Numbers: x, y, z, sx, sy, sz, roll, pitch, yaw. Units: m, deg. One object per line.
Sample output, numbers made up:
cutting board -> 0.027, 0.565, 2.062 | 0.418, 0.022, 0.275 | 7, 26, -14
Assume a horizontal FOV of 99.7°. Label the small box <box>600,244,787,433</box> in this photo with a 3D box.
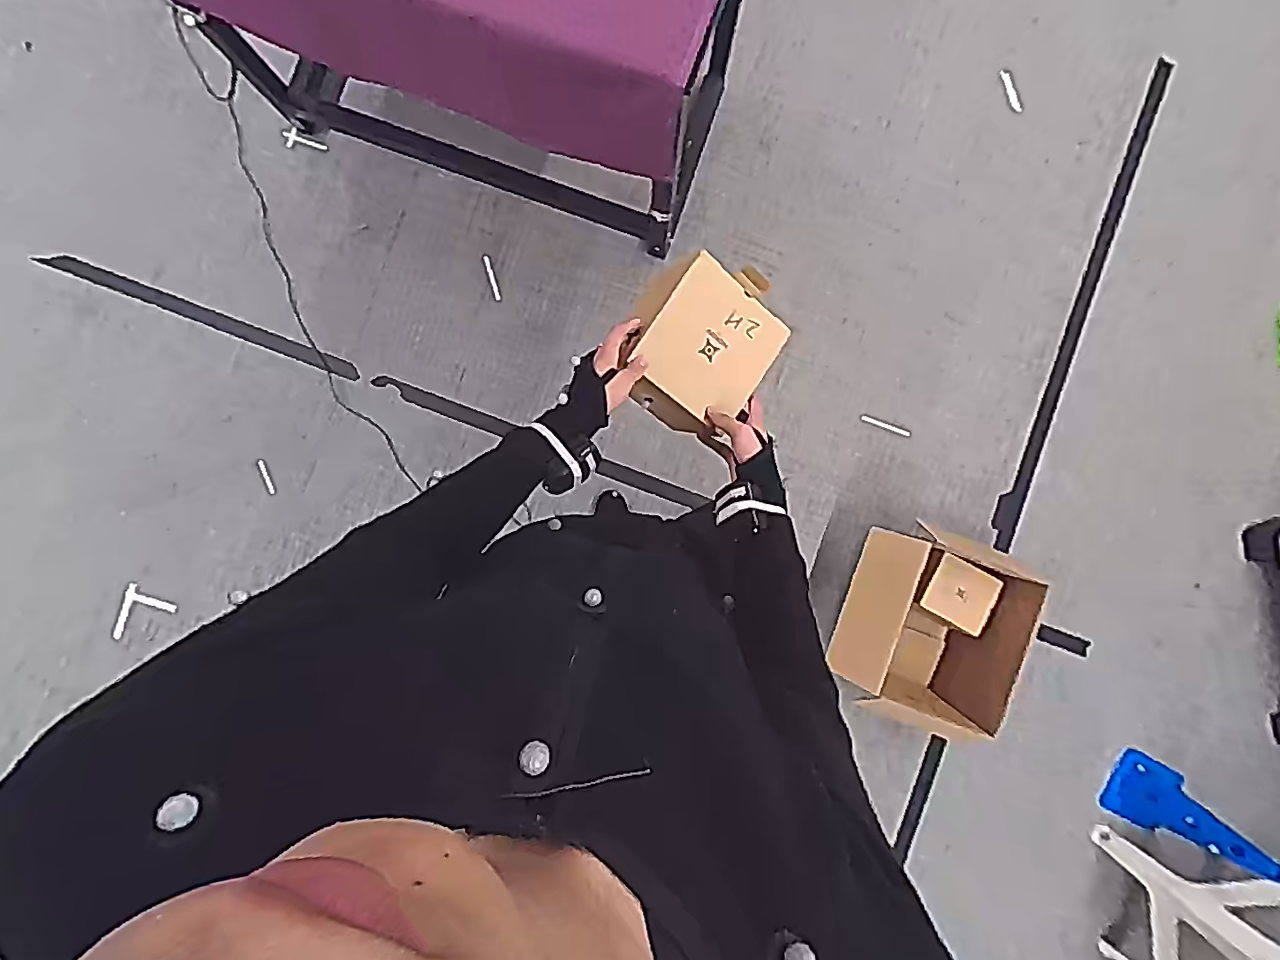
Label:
small box -> 0.061, -0.185, 0.754 | 0.168, 0.176, 0.179 | 34, 86, -21
